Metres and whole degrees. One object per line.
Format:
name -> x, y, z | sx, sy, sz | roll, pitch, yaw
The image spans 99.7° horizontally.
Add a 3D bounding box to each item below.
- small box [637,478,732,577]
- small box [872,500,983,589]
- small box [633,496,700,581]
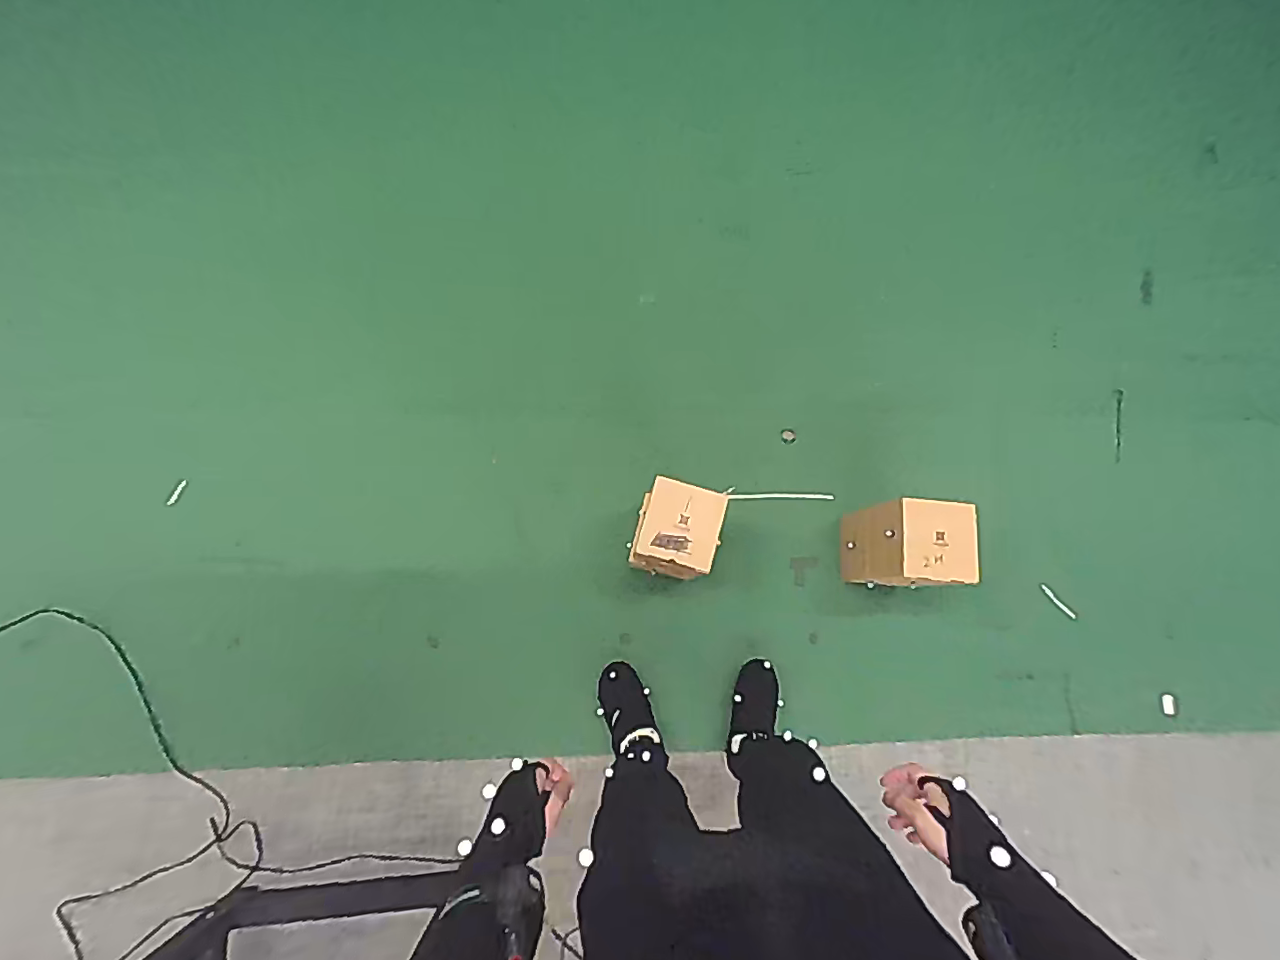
small box -> 0.094, 0.115, 1.226 | 0.168, 0.176, 0.179 | 17, 78, 1
small box -> 0.649, 0.152, 1.239 | 0.168, 0.176, 0.179 | 6, 78, -1
small box -> 0.079, 0.155, 1.385 | 0.168, 0.176, 0.179 | 14, 79, 0
